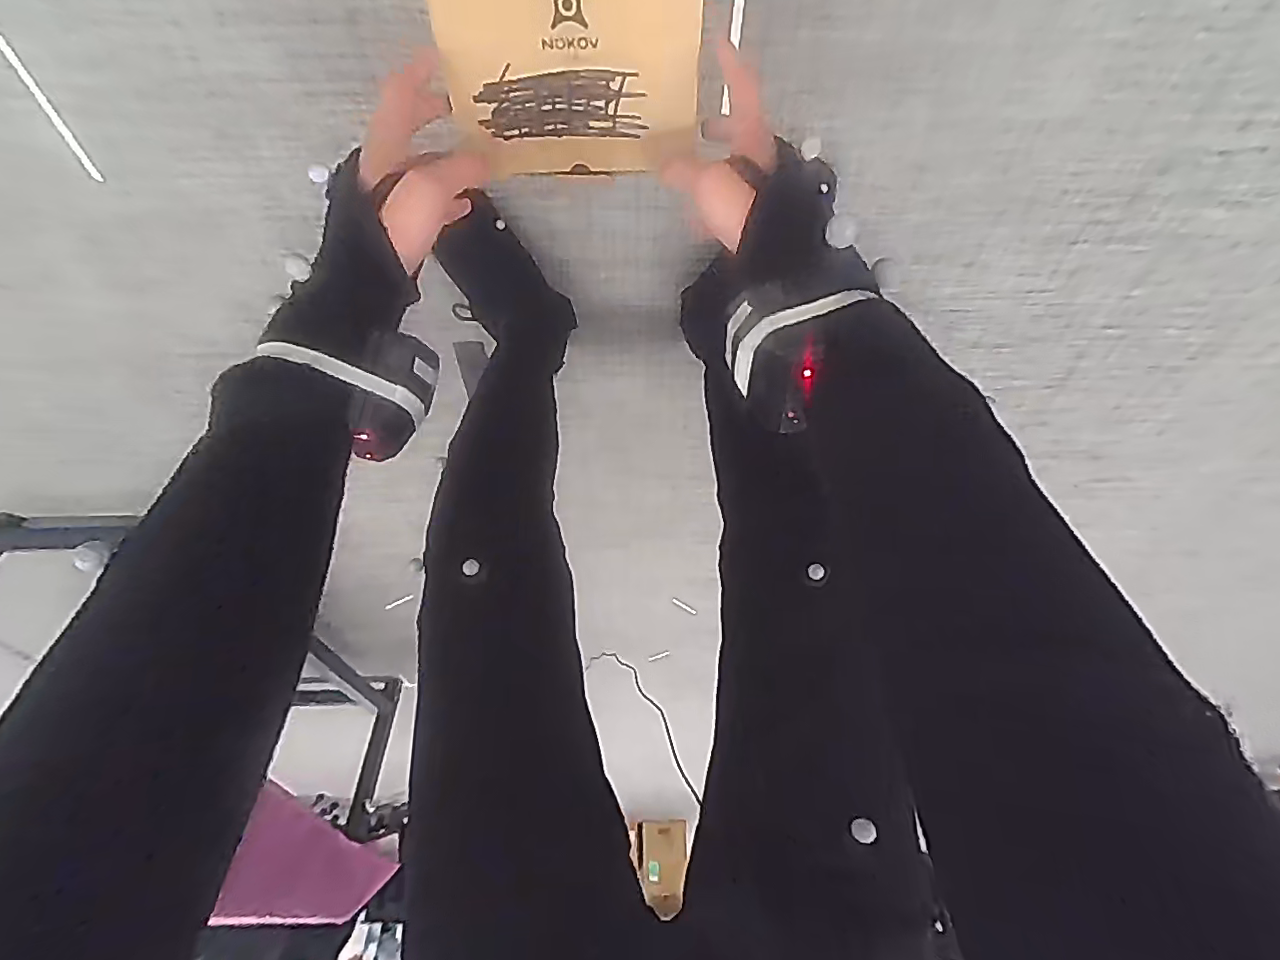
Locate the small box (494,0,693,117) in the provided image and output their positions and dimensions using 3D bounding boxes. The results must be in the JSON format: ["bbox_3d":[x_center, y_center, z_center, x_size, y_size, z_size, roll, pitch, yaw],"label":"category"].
[{"bbox_3d":[-0.040,-0.458,0.487,0.168,0.176,0.179,-2,141,2],"label":"small box"}]
